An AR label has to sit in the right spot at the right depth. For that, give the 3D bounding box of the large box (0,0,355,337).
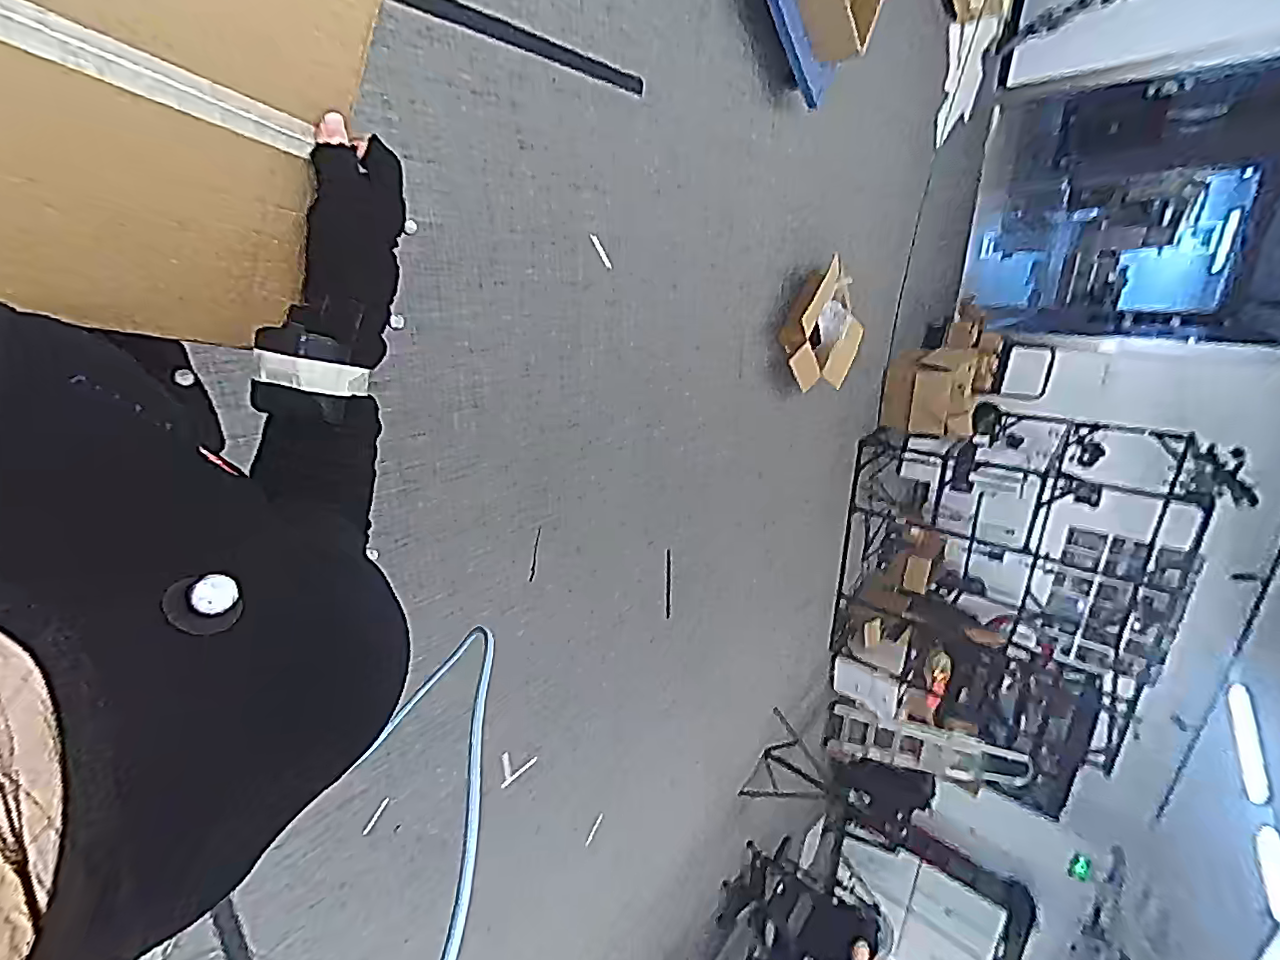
[{"bbox_3d":[-0.436,-0.317,0.301,0.408,0.320,0.320,-3,130,-50],"label":"large box"}]
